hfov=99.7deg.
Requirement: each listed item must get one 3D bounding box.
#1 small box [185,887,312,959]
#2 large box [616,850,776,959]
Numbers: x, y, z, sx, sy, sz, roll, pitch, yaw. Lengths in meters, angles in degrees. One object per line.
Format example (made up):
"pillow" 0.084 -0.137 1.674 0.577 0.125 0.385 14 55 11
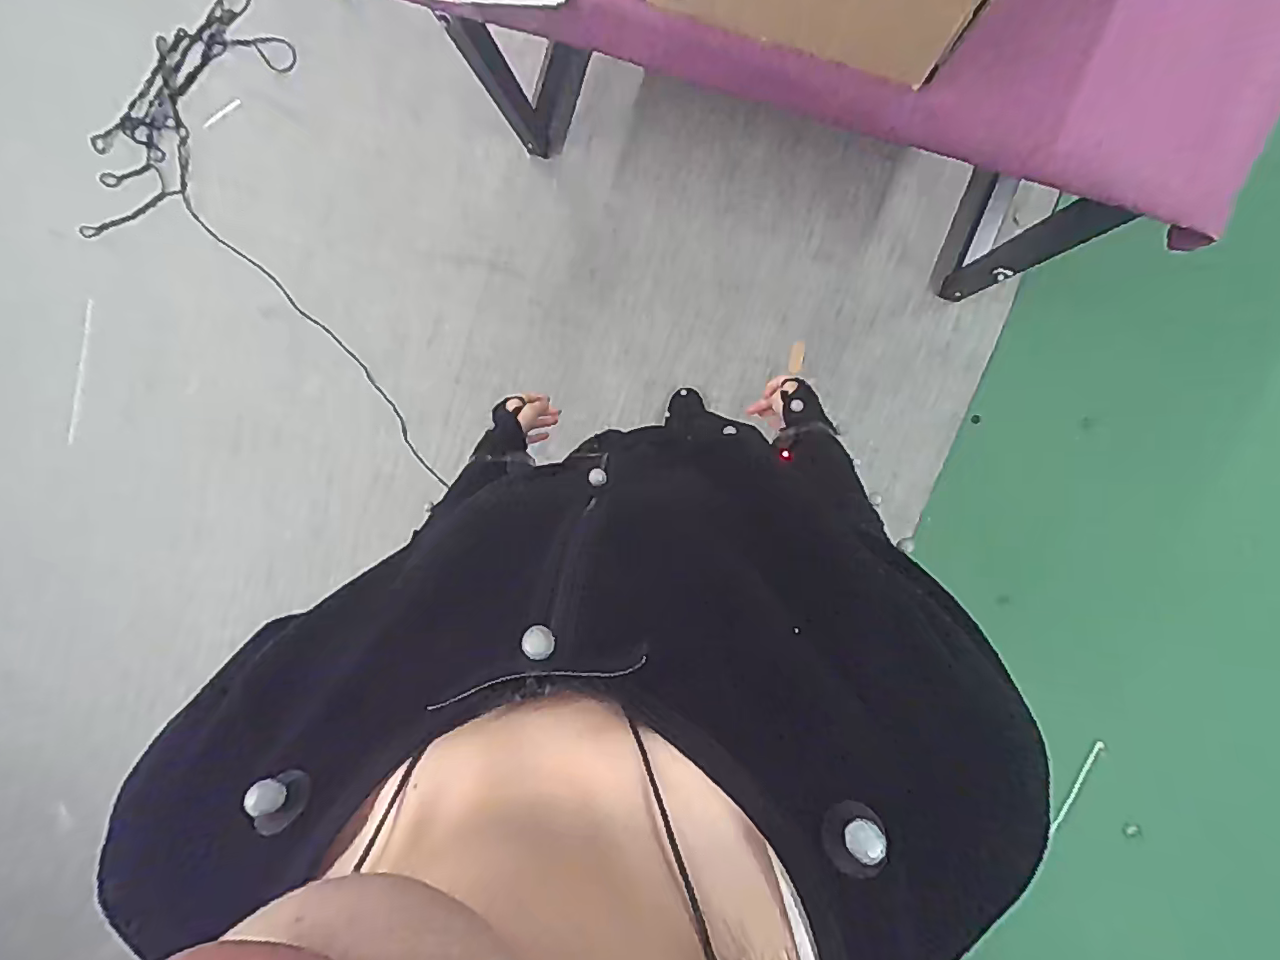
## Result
"small box" -0.990 1.182 1.368 0.168 0.176 0.179 -41 90 11
"large box" 0.143 1.307 1.507 0.408 0.320 0.320 5 98 4
